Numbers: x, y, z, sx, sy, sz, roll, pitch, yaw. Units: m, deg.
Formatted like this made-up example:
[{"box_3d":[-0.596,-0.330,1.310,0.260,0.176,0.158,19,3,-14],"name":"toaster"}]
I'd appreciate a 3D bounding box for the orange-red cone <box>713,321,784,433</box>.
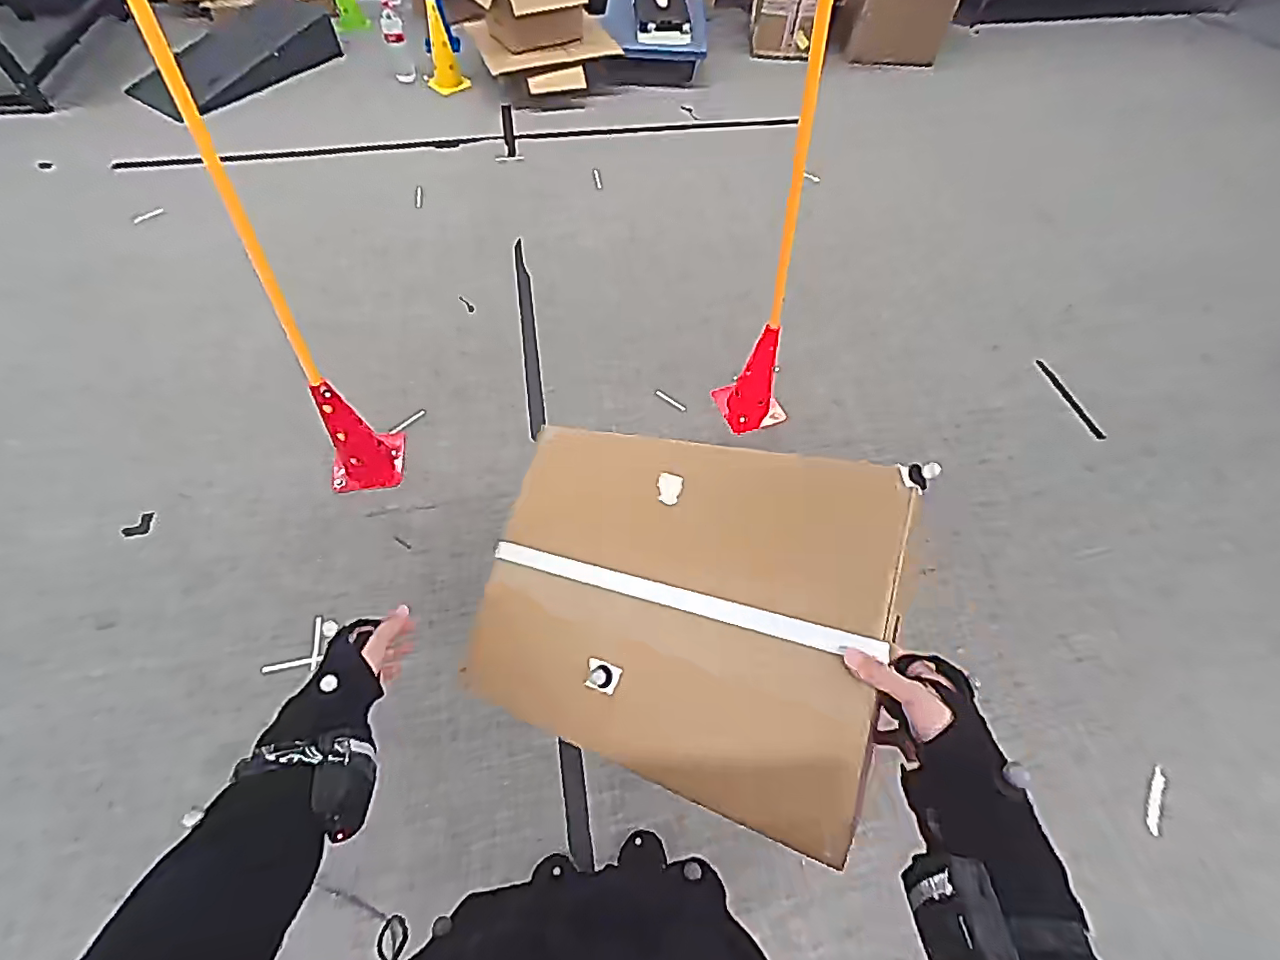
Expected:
[{"box_3d":[0.369,-0.339,1.656,0.199,0.360,0.198,-15,61,-13],"name":"orange-red cone"}]
